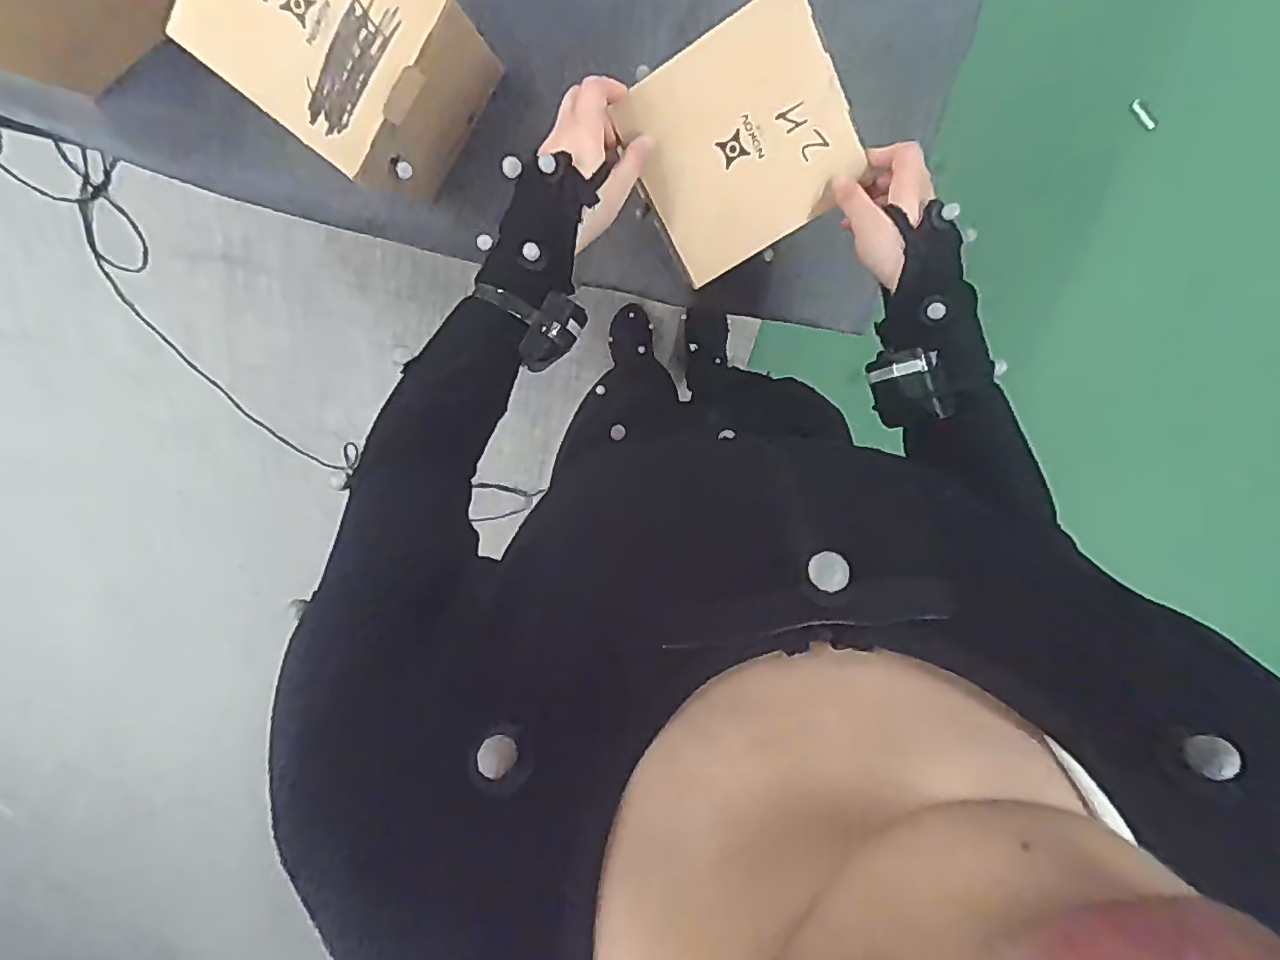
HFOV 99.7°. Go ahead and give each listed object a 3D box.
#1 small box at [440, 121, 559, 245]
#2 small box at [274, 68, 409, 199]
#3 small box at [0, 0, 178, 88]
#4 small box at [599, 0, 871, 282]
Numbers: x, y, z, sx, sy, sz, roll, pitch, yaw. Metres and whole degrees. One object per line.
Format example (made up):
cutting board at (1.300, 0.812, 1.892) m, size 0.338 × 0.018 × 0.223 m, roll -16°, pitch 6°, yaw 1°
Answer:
small box at (-0.297, -0.637, 1.186) m, size 0.179 × 0.176 × 0.168 m, roll 32°, pitch 108°, yaw -9°
small box at (-0.631, -0.724, 1.157) m, size 0.179 × 0.176 × 0.168 m, roll 24°, pitch 110°, yaw -7°
small box at (-0.571, -0.488, 0.467) m, size 0.179 × 0.176 × 0.168 m, roll -27°, pitch 108°, yaw 11°
small box at (0.082, -0.309, 0.517) m, size 0.179 × 0.176 × 0.168 m, roll -28°, pitch 109°, yaw 12°
